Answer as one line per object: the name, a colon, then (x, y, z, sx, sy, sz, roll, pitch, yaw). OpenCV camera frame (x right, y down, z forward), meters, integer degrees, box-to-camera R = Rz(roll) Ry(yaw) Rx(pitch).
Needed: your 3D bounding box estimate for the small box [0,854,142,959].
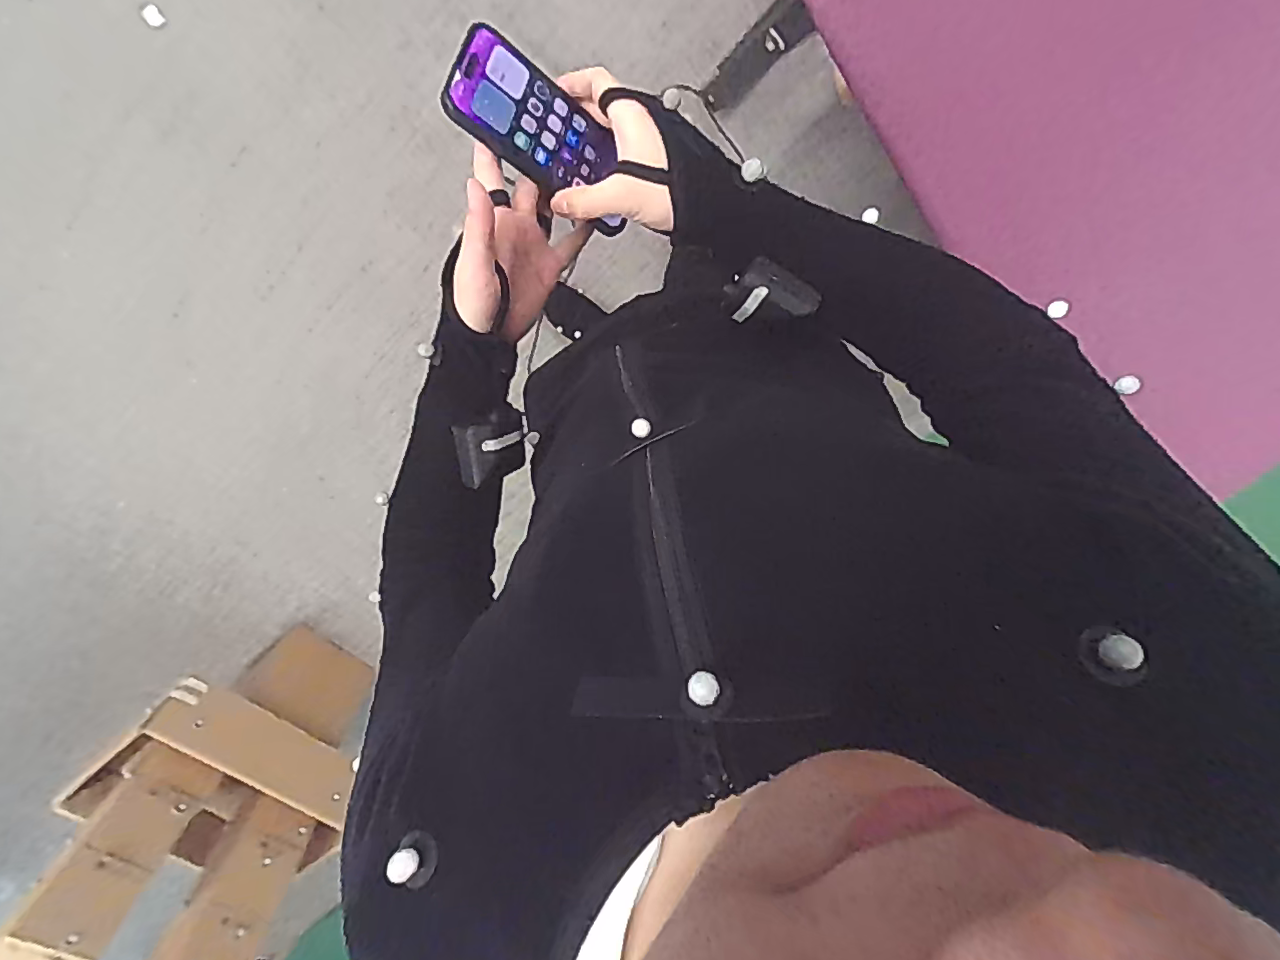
small box: (-1.171, 0.903, 1.084, 0.179, 0.176, 0.168, -41, 113, 12)

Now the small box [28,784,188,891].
small box: (-1.193, 0.837, 1.233, 0.179, 0.176, 0.168, -41, 112, 12)

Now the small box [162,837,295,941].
small box: (-1.011, 1.040, 1.347, 0.179, 0.176, 0.168, -40, 114, 12)

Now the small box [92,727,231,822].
small box: (-1.211, 0.778, 1.385, 0.179, 0.176, 0.168, -36, 113, 9)
